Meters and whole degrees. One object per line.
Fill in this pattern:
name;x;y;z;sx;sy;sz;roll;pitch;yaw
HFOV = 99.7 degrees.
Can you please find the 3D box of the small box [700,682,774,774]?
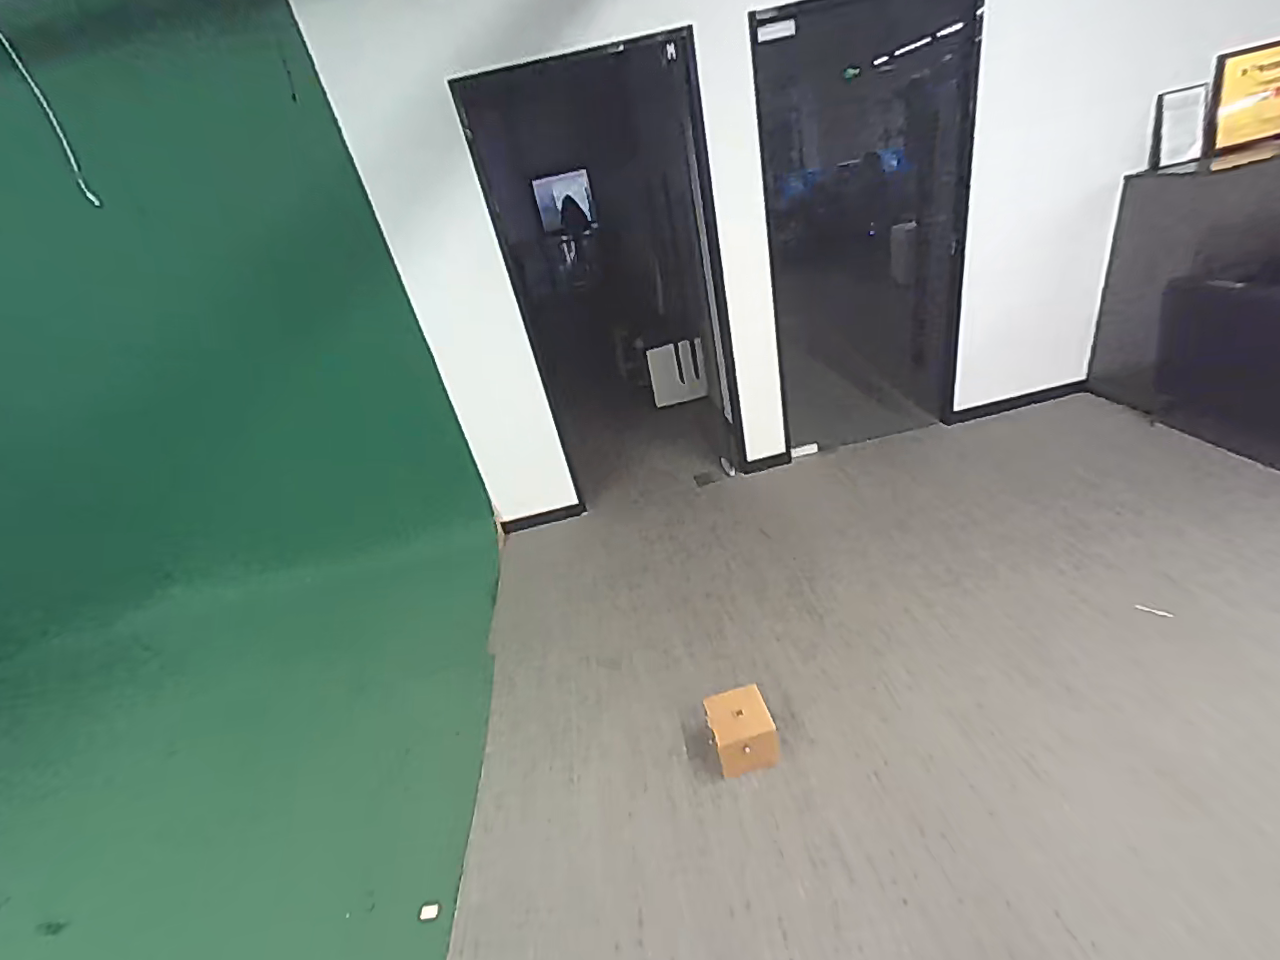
small box;0.295;0.747;1.629;0.179;0.176;0.168;-15;30;-3
